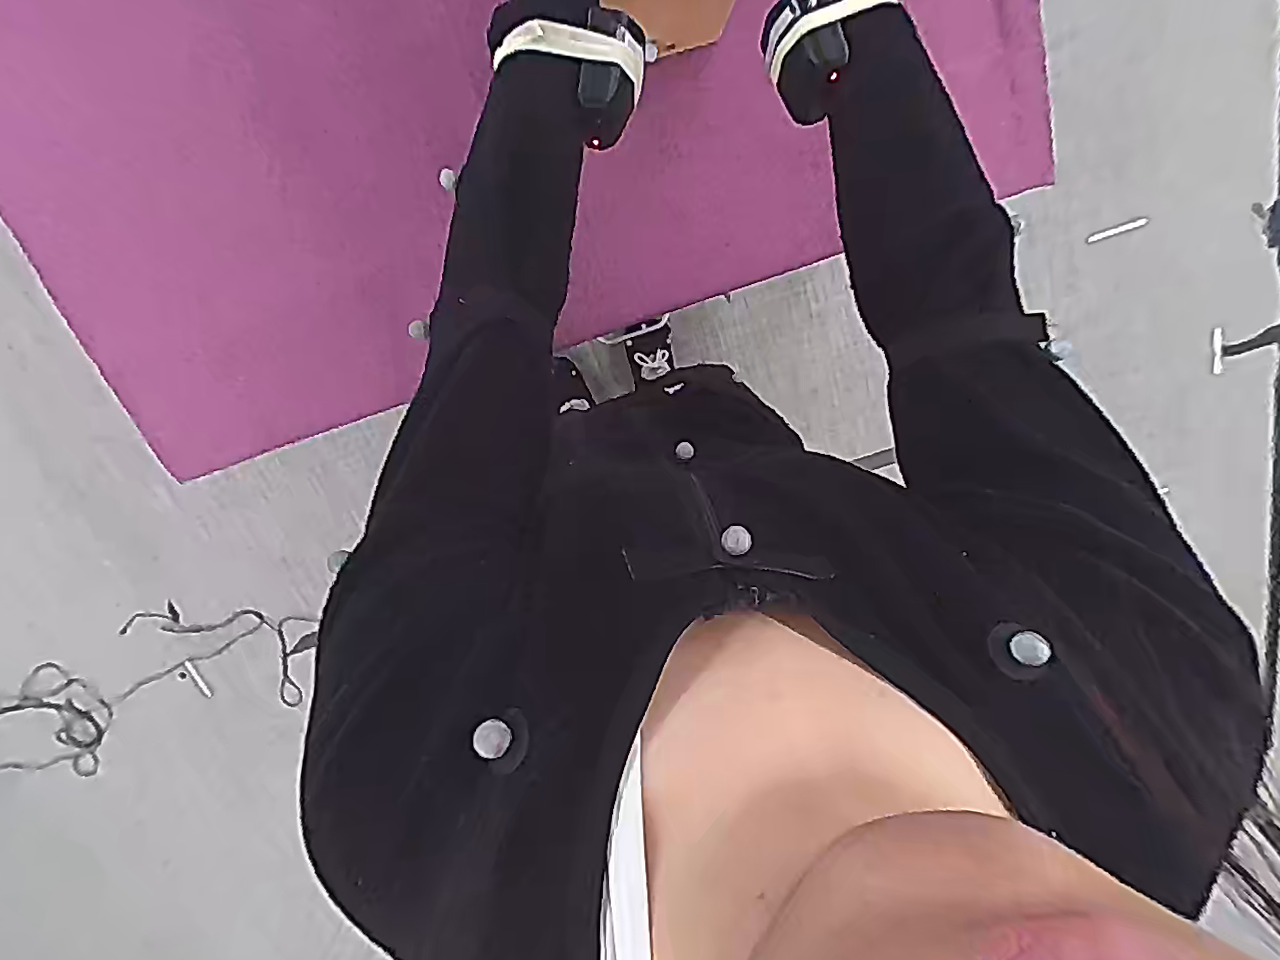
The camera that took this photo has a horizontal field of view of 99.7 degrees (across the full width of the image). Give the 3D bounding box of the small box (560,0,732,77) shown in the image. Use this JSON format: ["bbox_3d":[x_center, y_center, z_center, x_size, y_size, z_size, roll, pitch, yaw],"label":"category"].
[{"bbox_3d":[-0.007,-0.534,0.517,0.168,0.176,0.179,-15,109,1],"label":"small box"}]
